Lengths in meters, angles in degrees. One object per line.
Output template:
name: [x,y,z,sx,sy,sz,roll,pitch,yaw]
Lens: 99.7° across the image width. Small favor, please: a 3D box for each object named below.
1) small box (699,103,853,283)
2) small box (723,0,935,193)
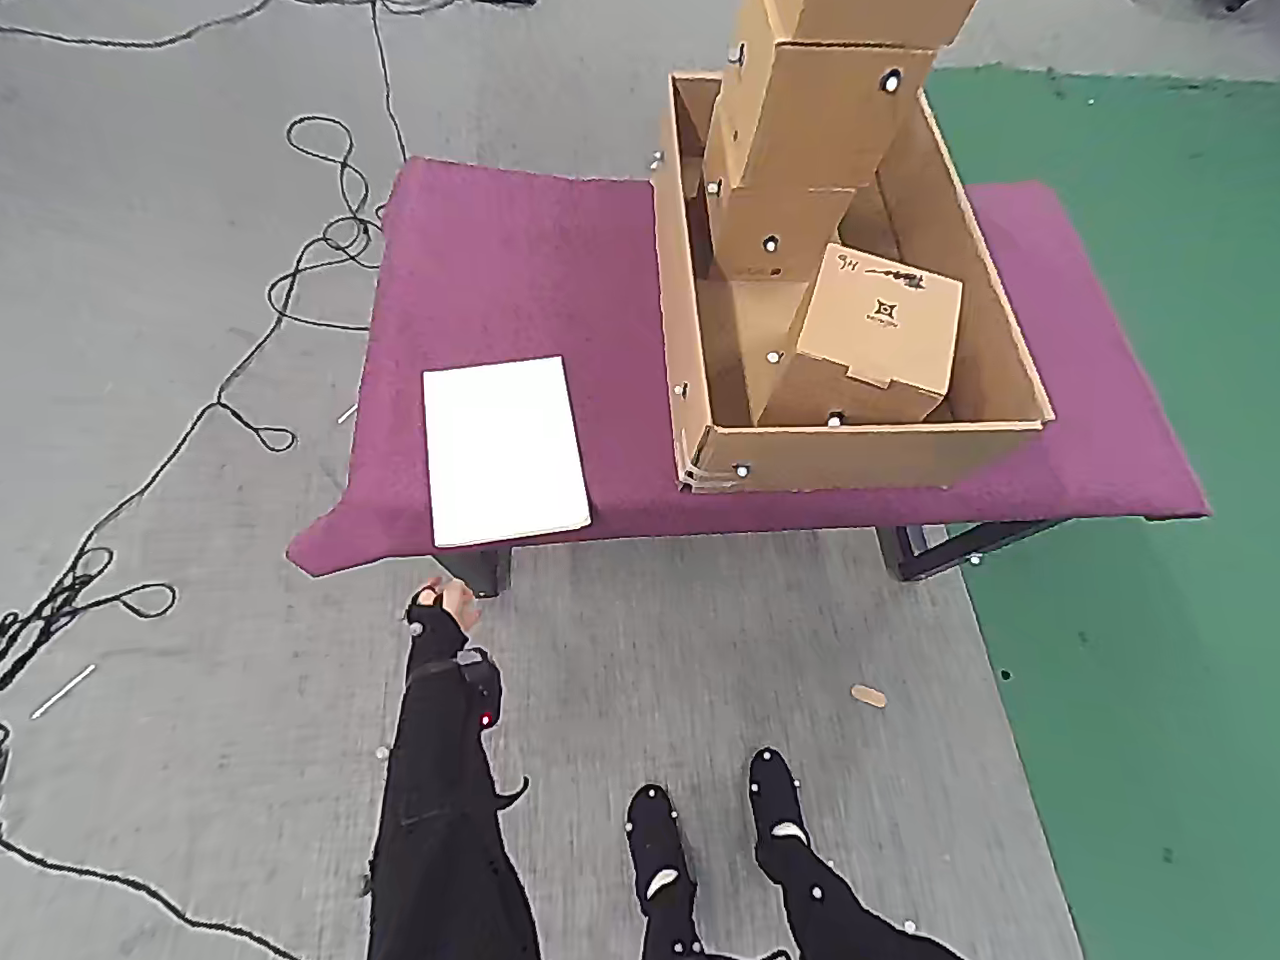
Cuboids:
small box: [0.186,-0.410,0.792,0.168,0.176,0.179,-1,68,-5]
small box: [0.202,-0.469,0.643,0.179,0.176,0.168,-4,68,-6]
